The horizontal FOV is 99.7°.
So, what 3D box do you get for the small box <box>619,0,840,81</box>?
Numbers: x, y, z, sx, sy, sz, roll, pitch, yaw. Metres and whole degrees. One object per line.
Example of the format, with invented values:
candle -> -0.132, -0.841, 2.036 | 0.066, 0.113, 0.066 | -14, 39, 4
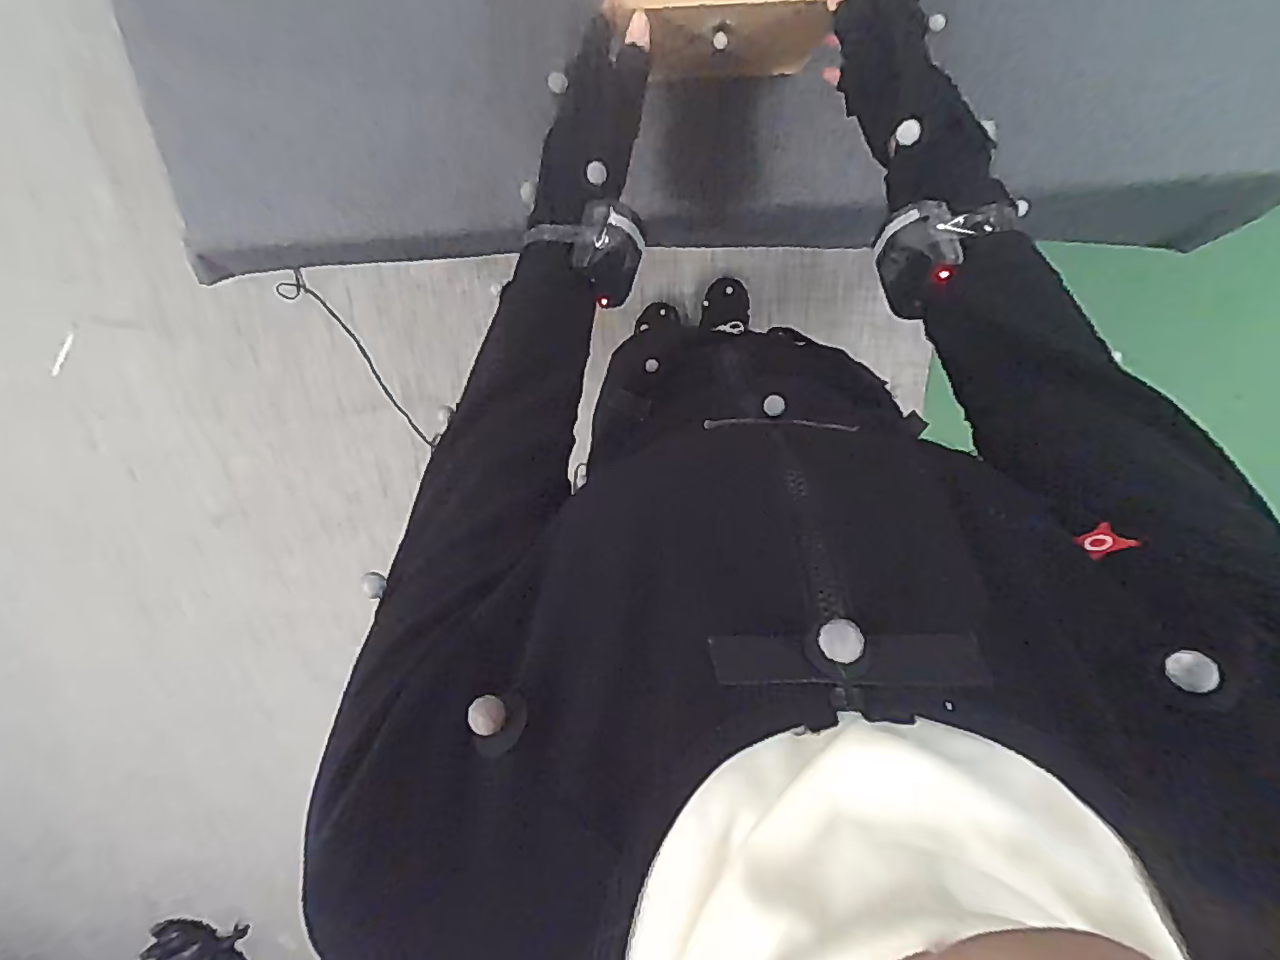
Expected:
small box -> 0.071, -0.459, 0.452 | 0.179, 0.176, 0.168 | -2, 111, 2
